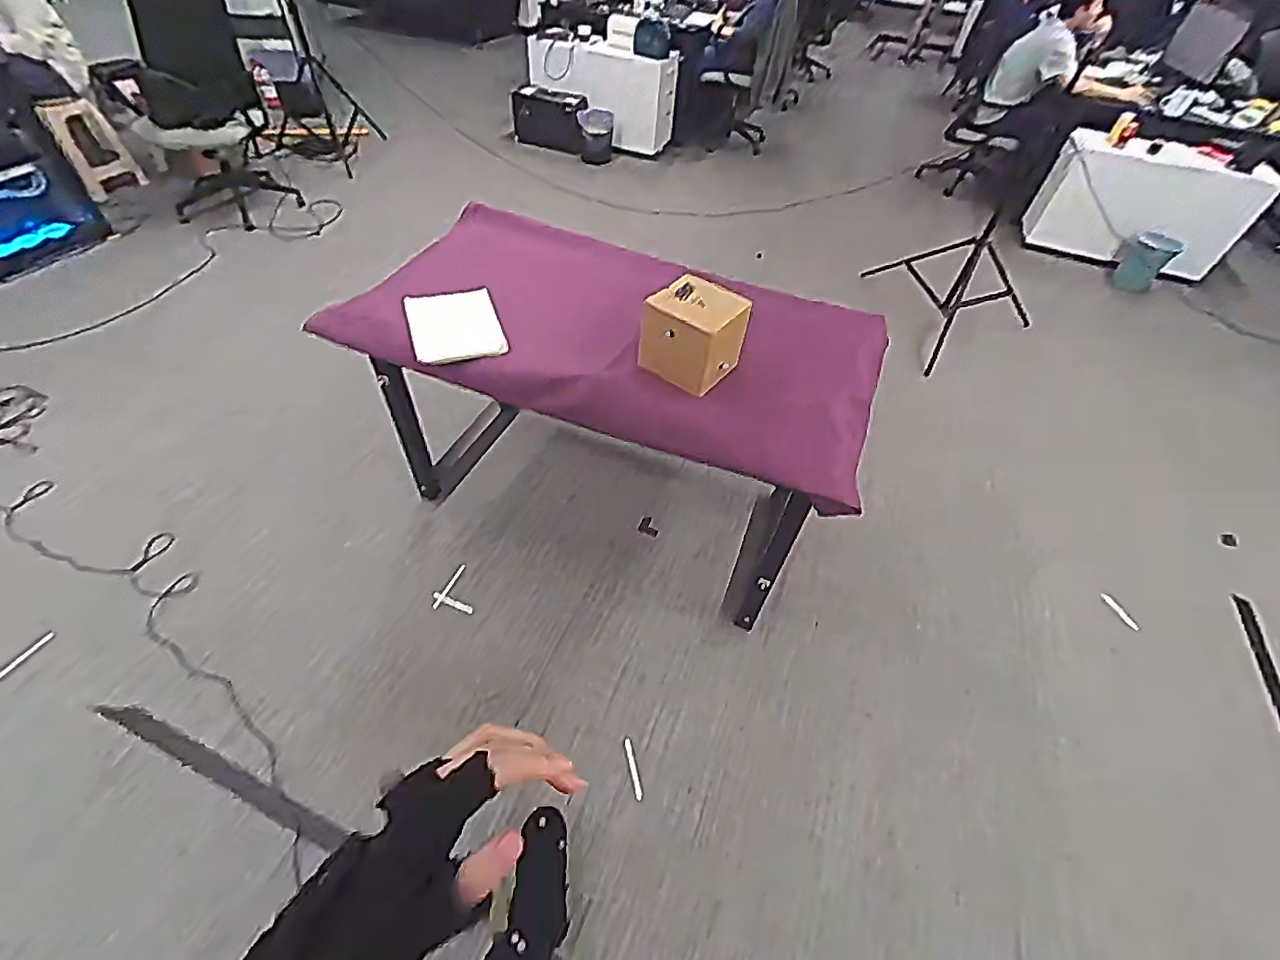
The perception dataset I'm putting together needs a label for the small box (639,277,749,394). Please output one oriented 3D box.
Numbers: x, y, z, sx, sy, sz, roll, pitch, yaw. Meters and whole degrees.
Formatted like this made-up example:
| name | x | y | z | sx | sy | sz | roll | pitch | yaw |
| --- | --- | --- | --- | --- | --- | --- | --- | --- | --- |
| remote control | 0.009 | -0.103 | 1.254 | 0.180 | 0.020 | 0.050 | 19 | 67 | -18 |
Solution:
| name | x | y | z | sx | sy | sz | roll | pitch | yaw |
| --- | --- | --- | --- | --- | --- | --- | --- | --- | --- |
| small box | 0.113 | -0.321 | 1.210 | 0.179 | 0.176 | 0.168 | 32 | 52 | 21 |
